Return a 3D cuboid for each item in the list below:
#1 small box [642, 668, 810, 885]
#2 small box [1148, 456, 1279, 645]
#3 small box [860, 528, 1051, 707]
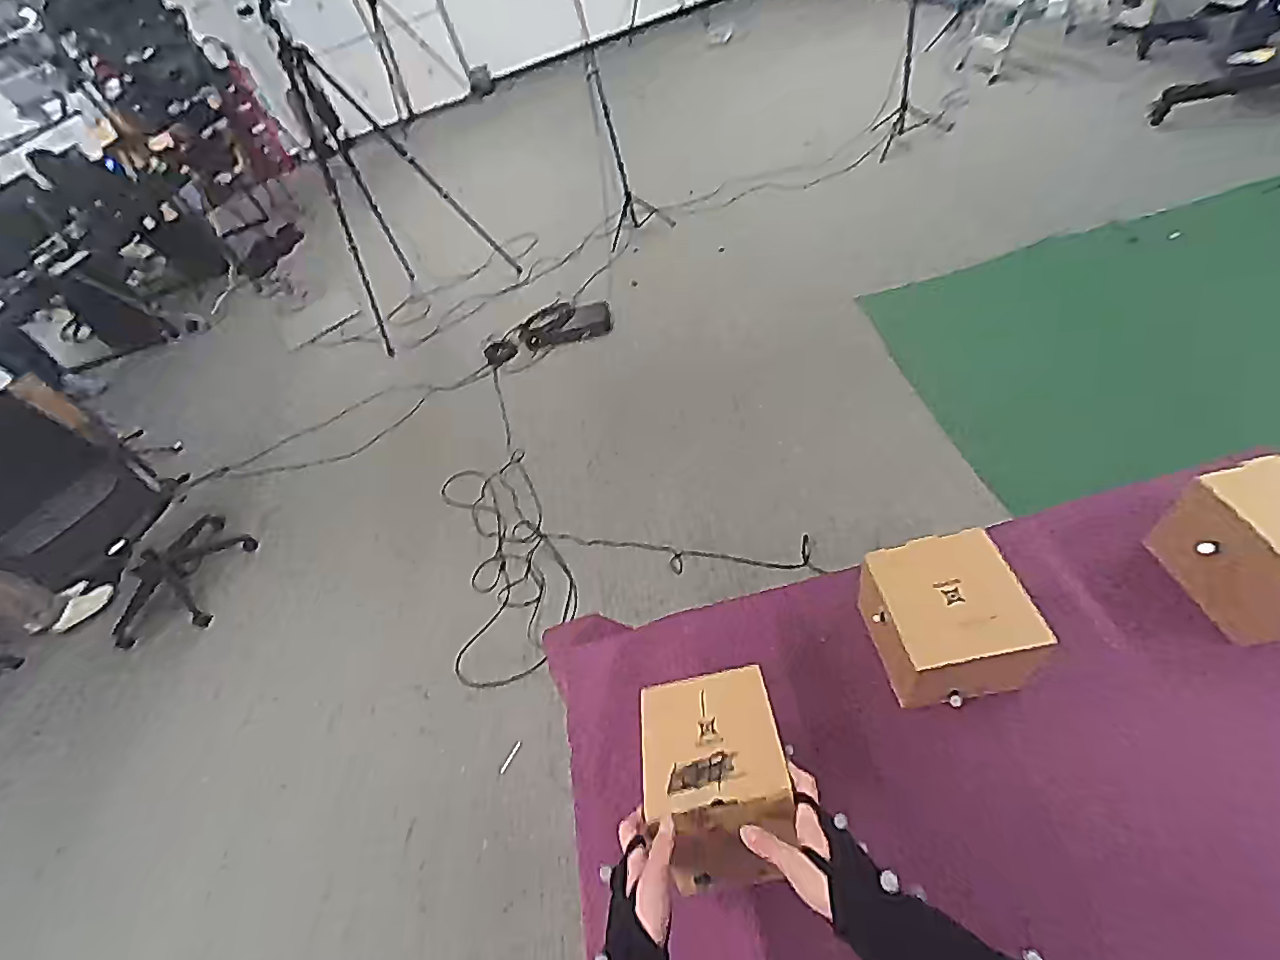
[{"bbox_3d":[0.105,0.376,0.684,0.168,0.176,0.179,-15,27,7],"label":"small box"},{"bbox_3d":[0.845,0.090,0.716,0.168,0.176,0.179,-16,48,7],"label":"small box"},{"bbox_3d":[0.425,0.198,0.768,0.168,0.176,0.179,-14,49,8],"label":"small box"}]
